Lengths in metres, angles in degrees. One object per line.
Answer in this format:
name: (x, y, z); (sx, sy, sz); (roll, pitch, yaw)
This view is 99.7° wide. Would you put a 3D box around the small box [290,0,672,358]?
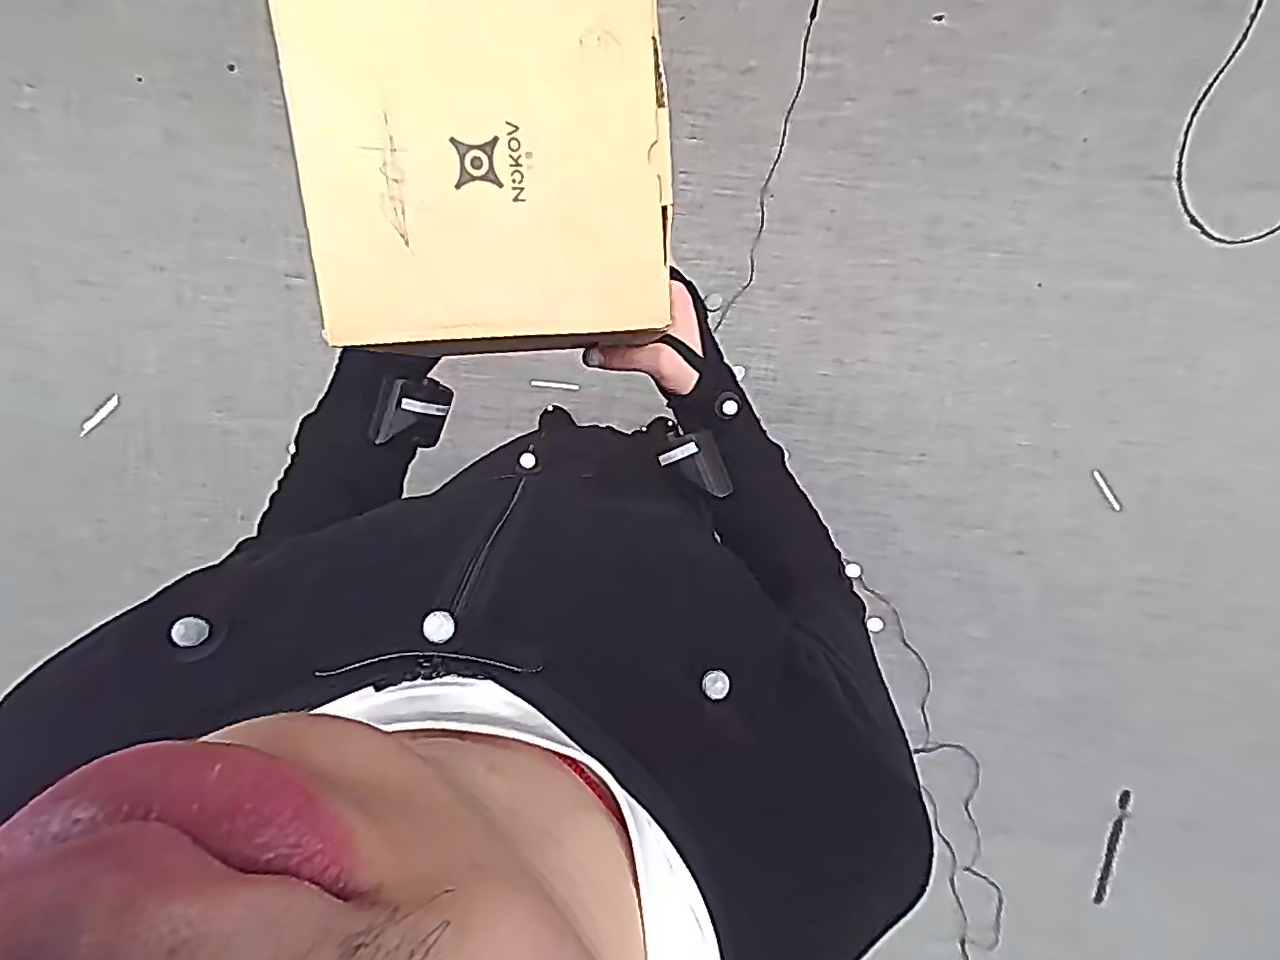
small box: (-0.080, -0.169, 0.350); (0.179, 0.176, 0.168); (-4, 100, -3)
